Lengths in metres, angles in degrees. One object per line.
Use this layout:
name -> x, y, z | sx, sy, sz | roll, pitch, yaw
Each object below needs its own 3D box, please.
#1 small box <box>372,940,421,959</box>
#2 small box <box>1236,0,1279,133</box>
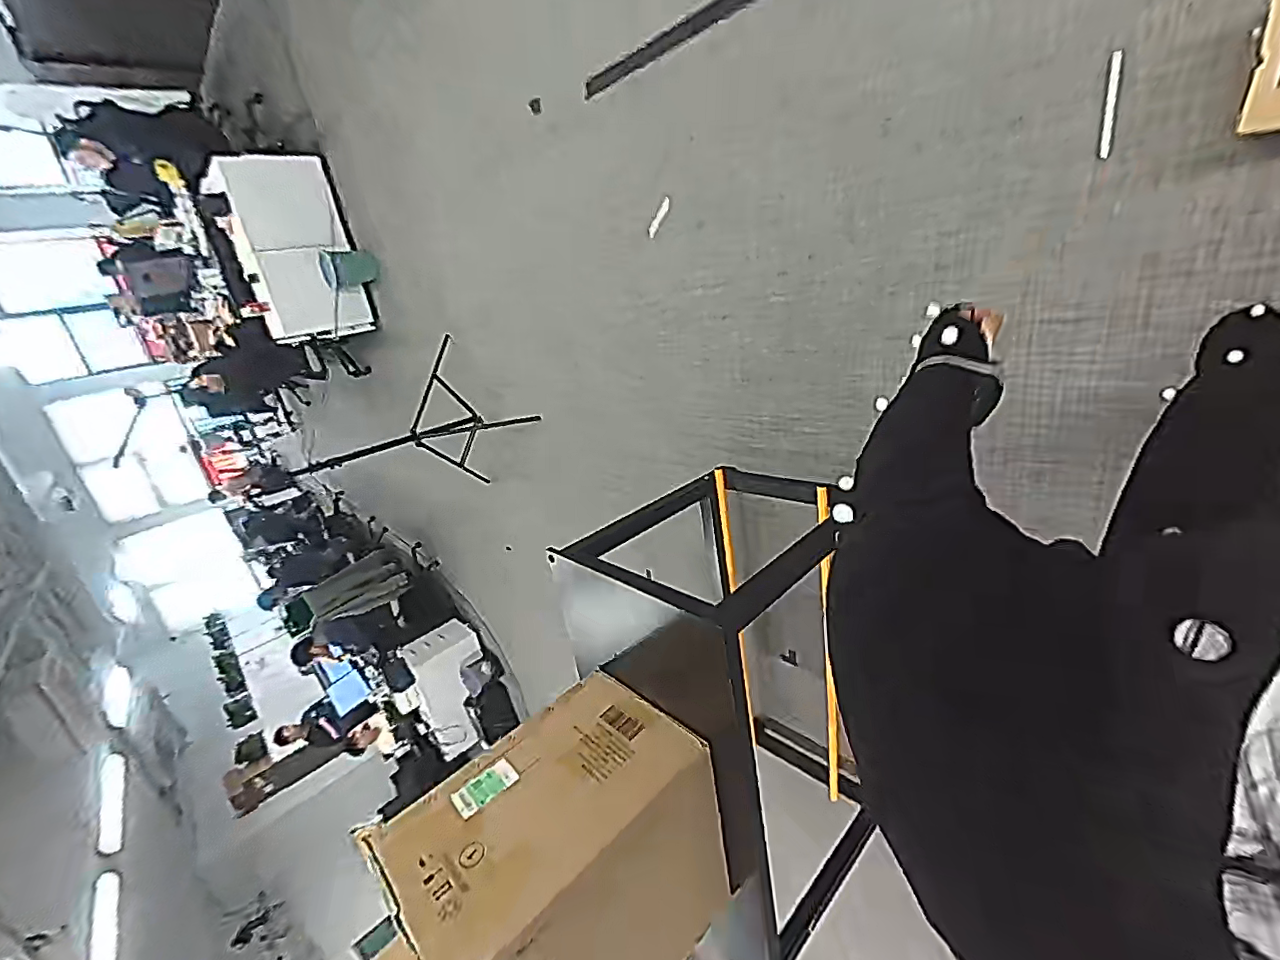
small box -> -0.412, 0.922, 0.894 | 0.179, 0.176, 0.168 | 9, 119, 46
small box -> 0.912, -0.554, 0.686 | 0.179, 0.176, 0.168 | 17, 124, 44
